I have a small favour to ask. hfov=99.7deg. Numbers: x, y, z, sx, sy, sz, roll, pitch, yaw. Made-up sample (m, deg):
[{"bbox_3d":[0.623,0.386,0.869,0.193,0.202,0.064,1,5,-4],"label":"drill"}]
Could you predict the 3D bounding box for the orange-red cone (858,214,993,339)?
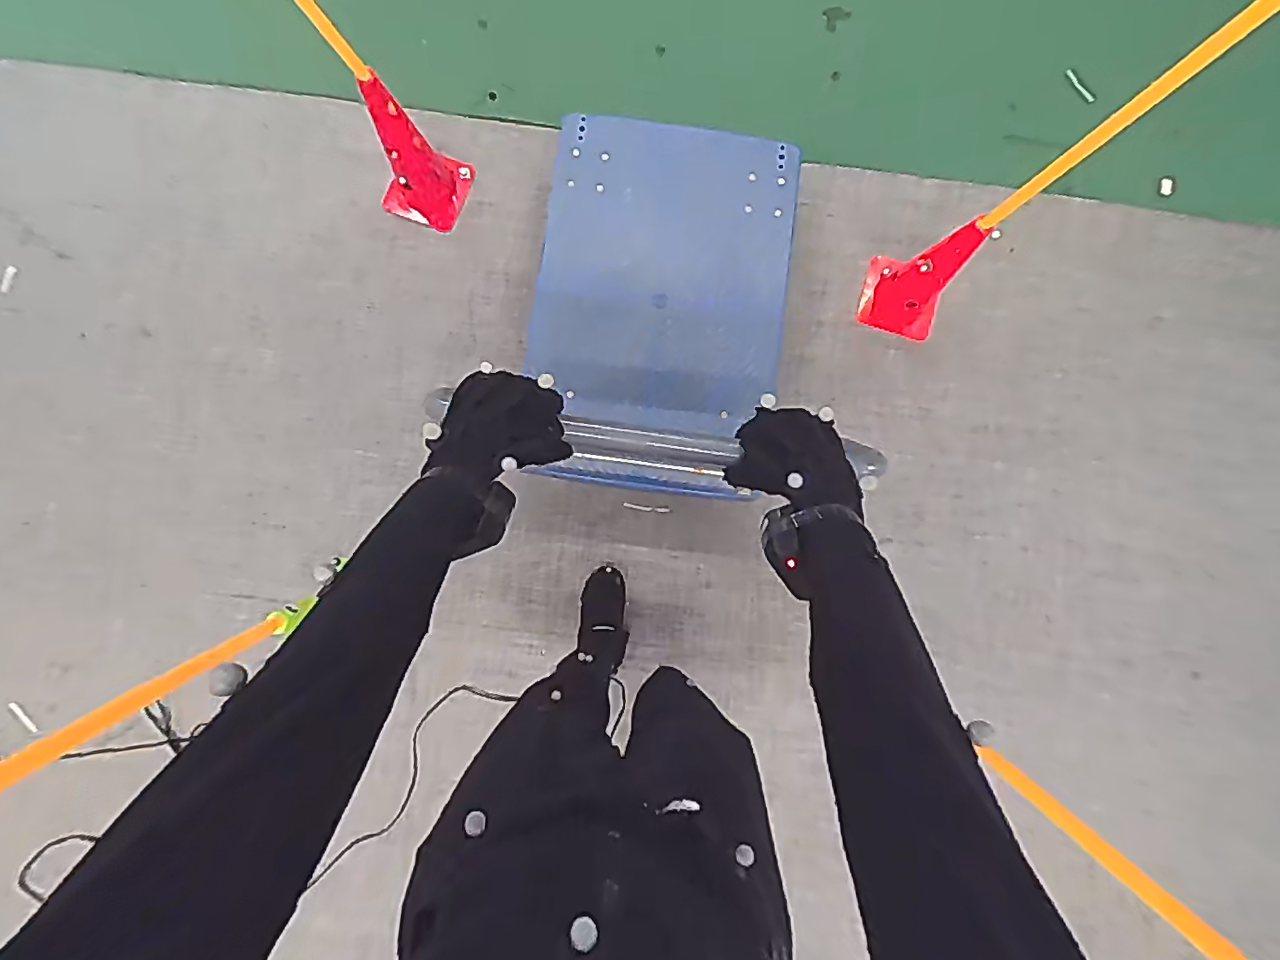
[{"bbox_3d":[0.701,-0.506,1.276,0.198,0.360,0.199,18,84,1],"label":"orange-red cone"}]
